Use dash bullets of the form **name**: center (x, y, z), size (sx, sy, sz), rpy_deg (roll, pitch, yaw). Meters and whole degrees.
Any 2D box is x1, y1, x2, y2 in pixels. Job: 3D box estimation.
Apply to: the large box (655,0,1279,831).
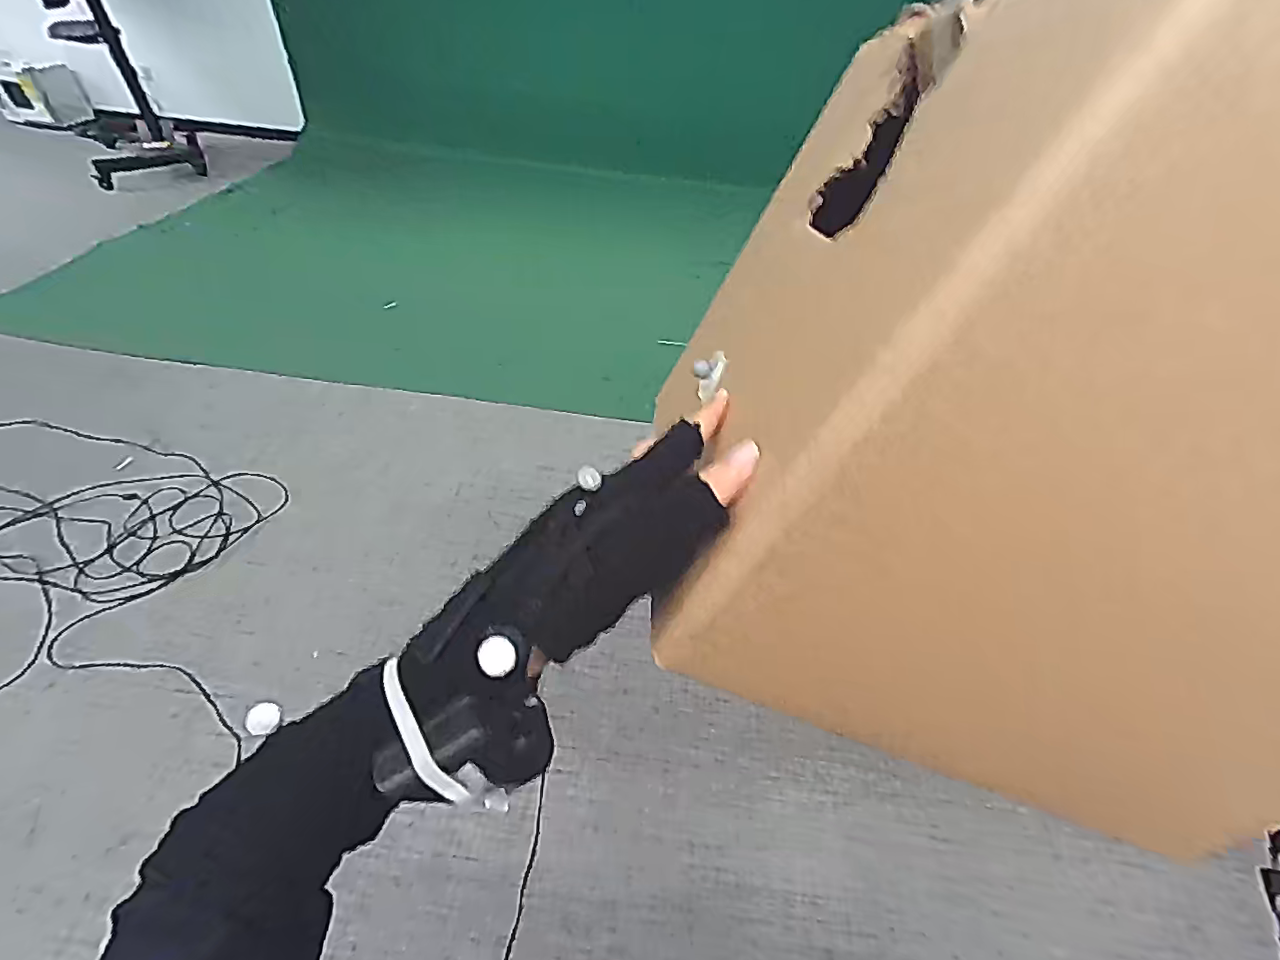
- **large box**: center (0.253, -0.028, 0.376), size (0.408, 0.320, 0.320), rpy_deg (25, 31, -12)
